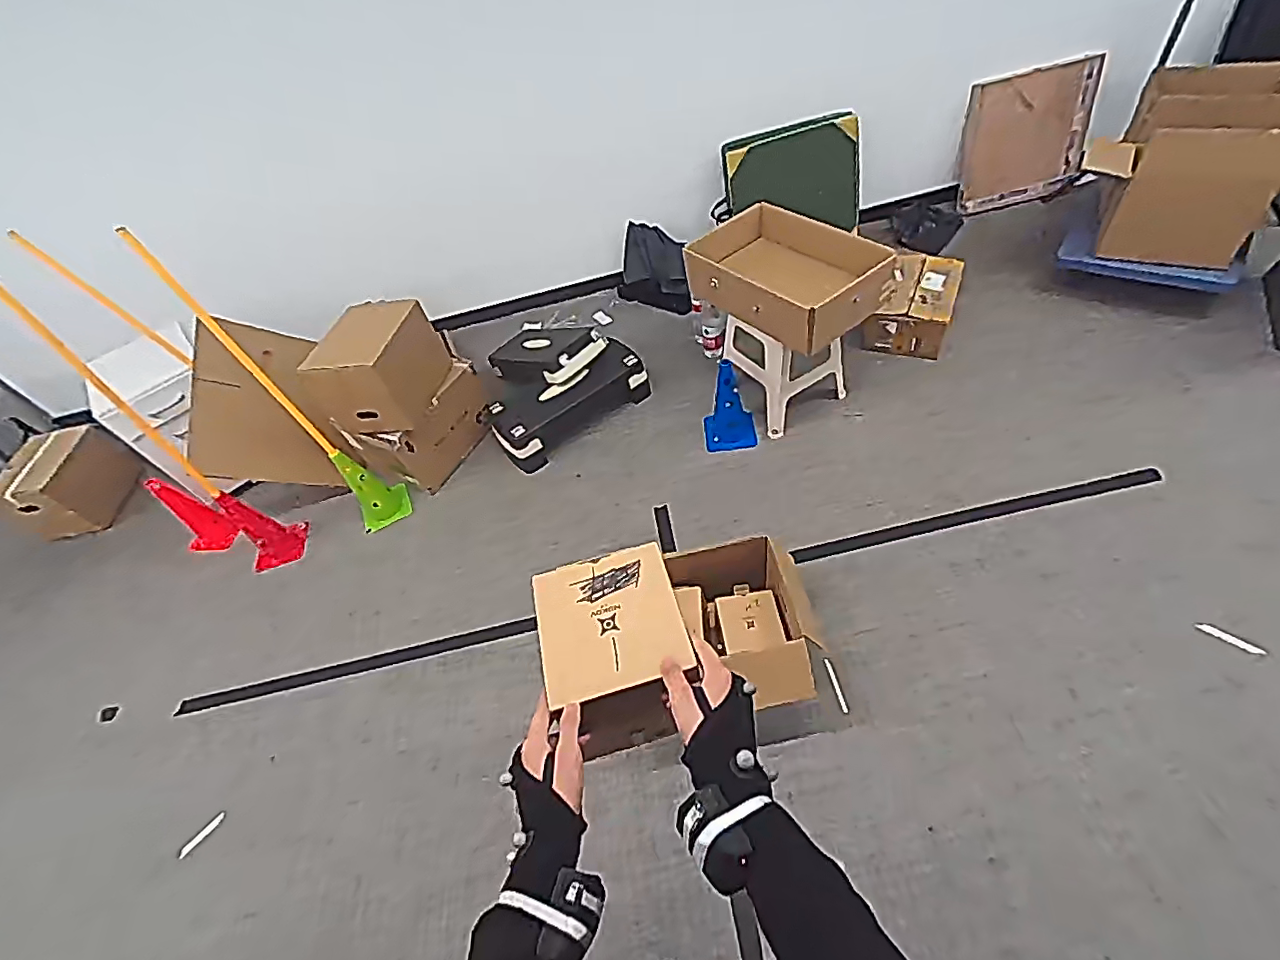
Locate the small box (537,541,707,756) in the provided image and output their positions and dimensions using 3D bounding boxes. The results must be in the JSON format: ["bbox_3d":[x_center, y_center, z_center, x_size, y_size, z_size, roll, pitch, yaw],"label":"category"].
[{"bbox_3d":[-0.021,0.210,0.673,0.168,0.176,0.179,-16,46,-3],"label":"small box"}]
